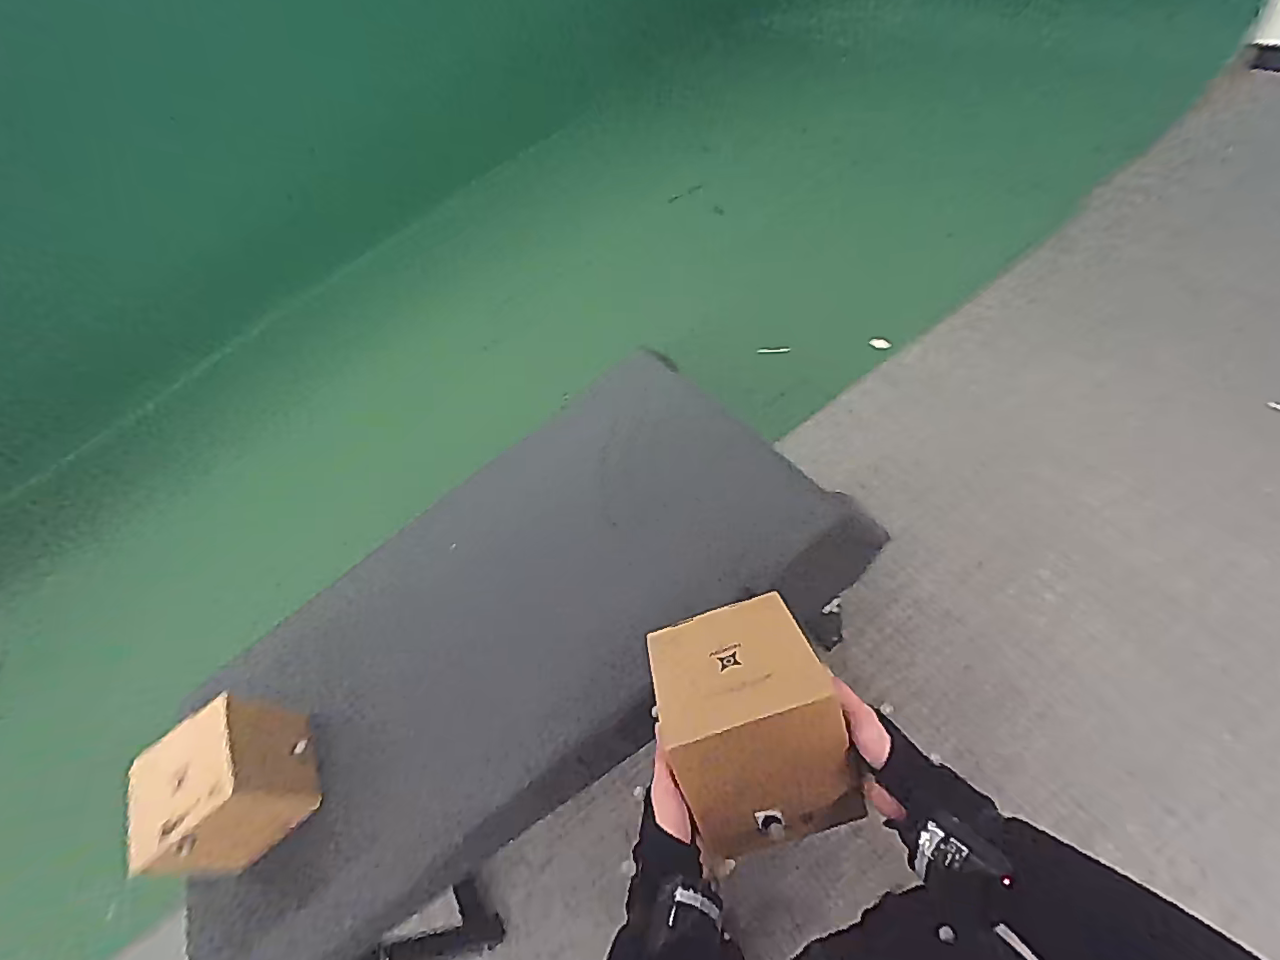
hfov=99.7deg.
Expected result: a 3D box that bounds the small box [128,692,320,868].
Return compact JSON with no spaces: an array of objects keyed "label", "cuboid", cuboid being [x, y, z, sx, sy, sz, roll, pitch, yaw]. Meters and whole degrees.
[{"label":"small box","cuboid":[-0.650,0.476,0.858,0.168,0.176,0.179,-39,52,-6]}]

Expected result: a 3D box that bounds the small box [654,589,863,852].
[{"label":"small box","cuboid":[0.121,0.253,0.589,0.168,0.176,0.179,-18,22,3]}]
